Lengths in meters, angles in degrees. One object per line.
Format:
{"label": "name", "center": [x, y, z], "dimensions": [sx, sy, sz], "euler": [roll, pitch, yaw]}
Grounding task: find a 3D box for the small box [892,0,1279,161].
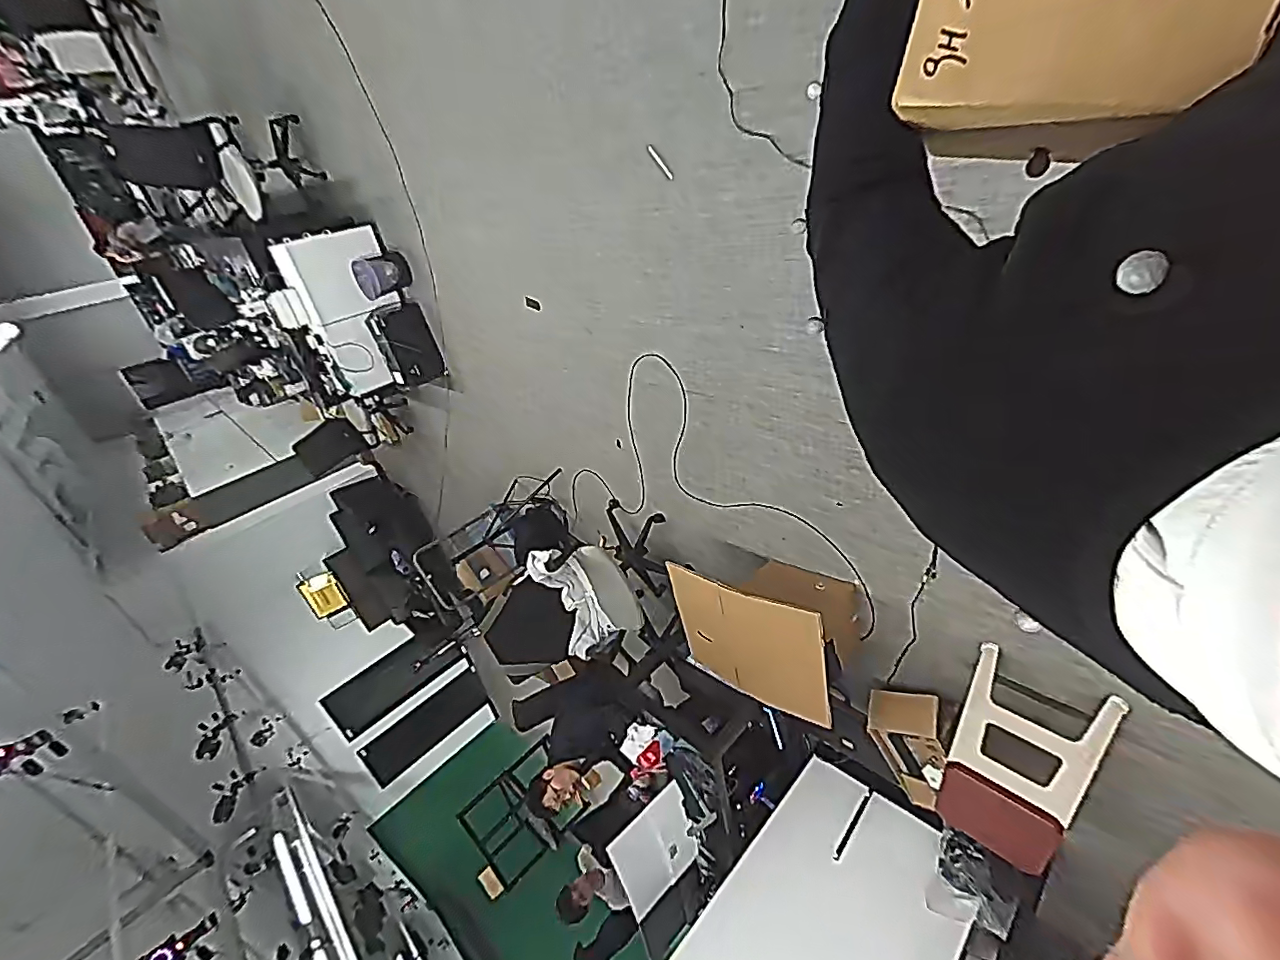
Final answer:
{"label": "small box", "center": [0.298, -0.320, 0.355], "dimensions": [0.179, 0.176, 0.168], "euler": [23, 118, 30]}
